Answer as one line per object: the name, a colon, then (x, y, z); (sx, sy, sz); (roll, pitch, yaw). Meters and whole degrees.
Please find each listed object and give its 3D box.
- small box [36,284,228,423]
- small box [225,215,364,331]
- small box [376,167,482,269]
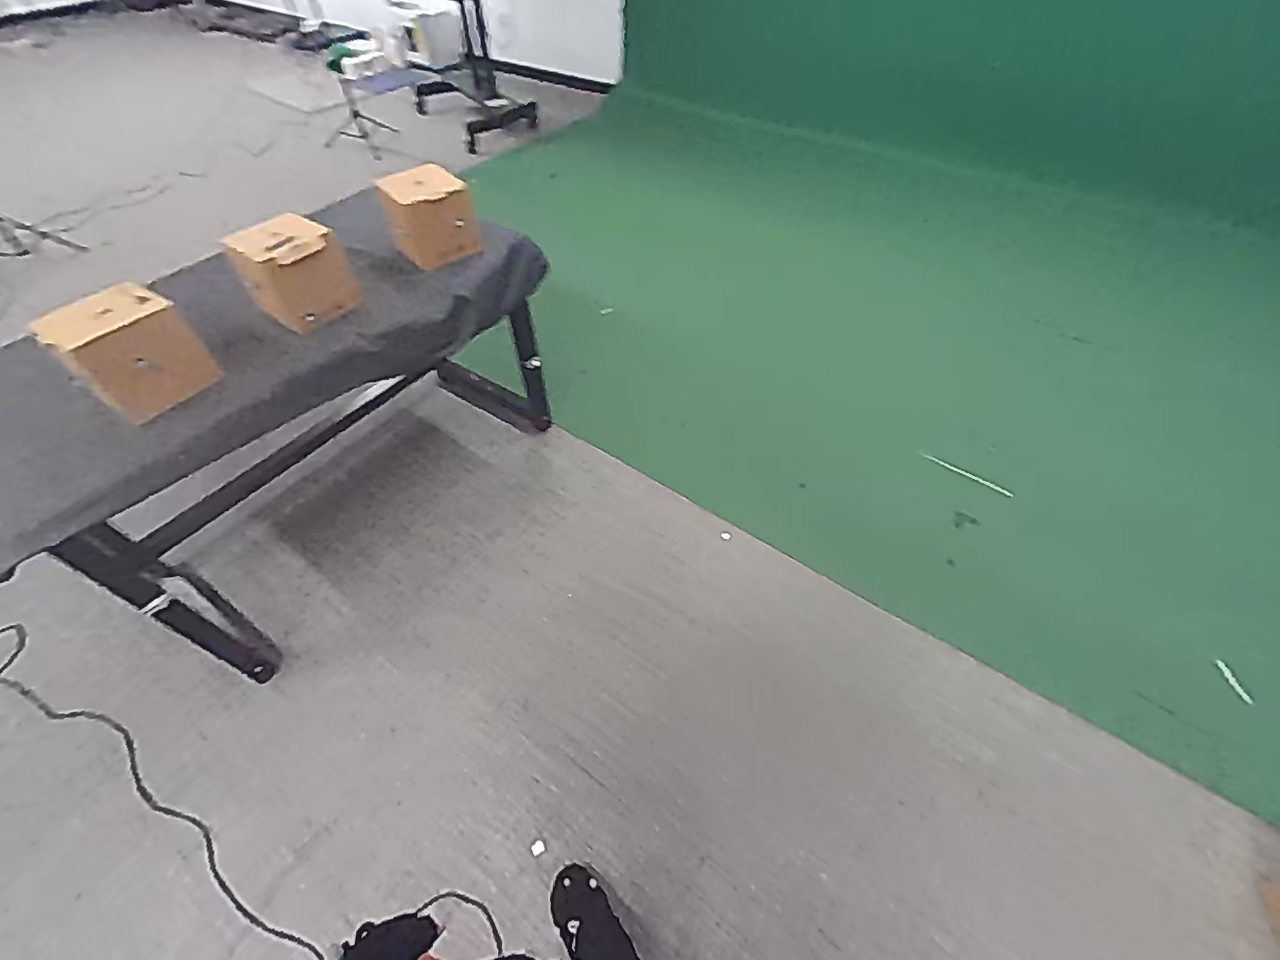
small box: (-0.948, -0.238, 1.026); (0.168, 0.176, 0.179); (25, 56, 22)
small box: (-0.758, -0.457, 1.205); (0.179, 0.176, 0.168); (30, 57, 24)
small box: (-0.525, -0.657, 1.367); (0.168, 0.176, 0.179); (-33, 56, -24)
